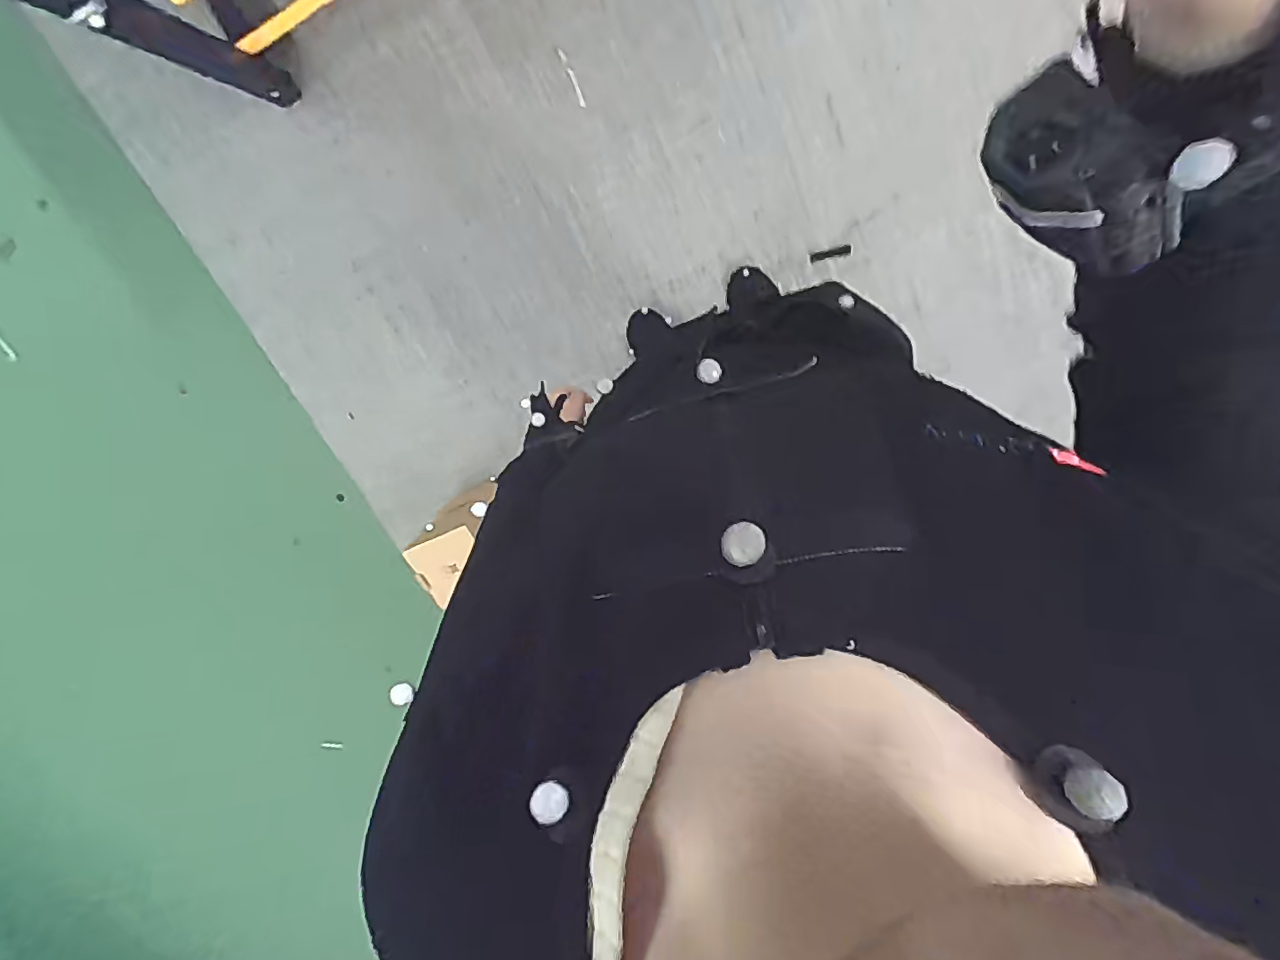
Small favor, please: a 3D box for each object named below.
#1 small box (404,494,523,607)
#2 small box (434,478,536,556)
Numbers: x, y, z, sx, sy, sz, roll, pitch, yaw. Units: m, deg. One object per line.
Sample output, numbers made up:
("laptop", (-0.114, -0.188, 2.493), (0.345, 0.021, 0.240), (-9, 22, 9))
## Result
("small box", (-0.399, 0.160, 1.256), (0.179, 0.176, 0.168), (-24, 108, 13))
("small box", (-0.396, 0.111, 1.411), (0.168, 0.176, 0.179), (-21, 109, 13))
